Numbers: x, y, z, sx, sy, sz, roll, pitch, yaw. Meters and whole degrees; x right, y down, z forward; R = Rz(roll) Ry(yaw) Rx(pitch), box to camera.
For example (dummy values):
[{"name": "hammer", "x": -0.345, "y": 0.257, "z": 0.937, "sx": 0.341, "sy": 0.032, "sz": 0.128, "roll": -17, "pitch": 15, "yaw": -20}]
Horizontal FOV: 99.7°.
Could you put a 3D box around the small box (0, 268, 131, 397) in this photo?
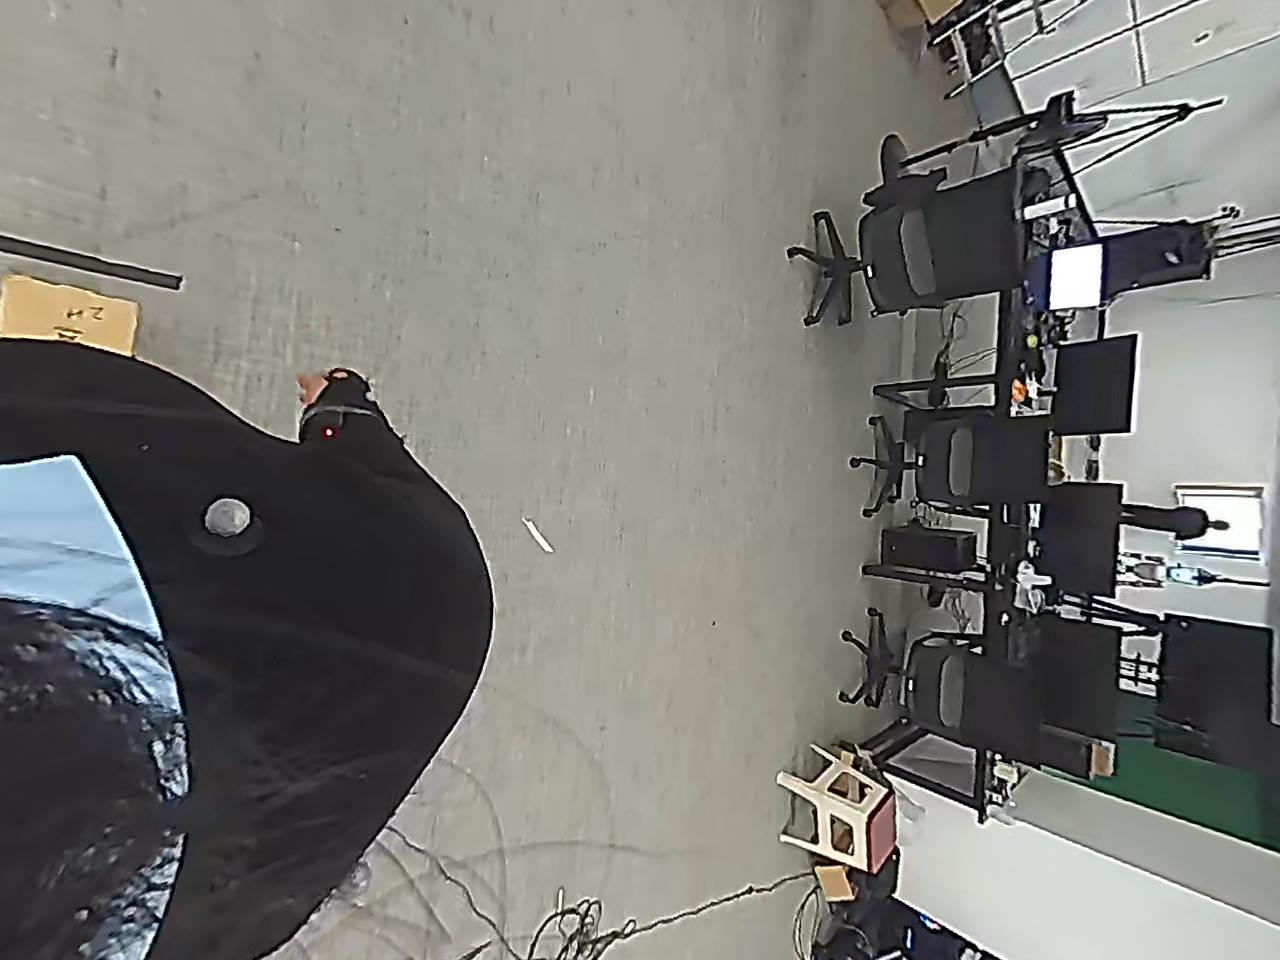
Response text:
[{"name": "small box", "x": -1.062, "y": -0.257, "z": 0.996, "sx": 0.168, "sy": 0.176, "sz": 0.179, "roll": 9, "pitch": 85, "yaw": -44}]
